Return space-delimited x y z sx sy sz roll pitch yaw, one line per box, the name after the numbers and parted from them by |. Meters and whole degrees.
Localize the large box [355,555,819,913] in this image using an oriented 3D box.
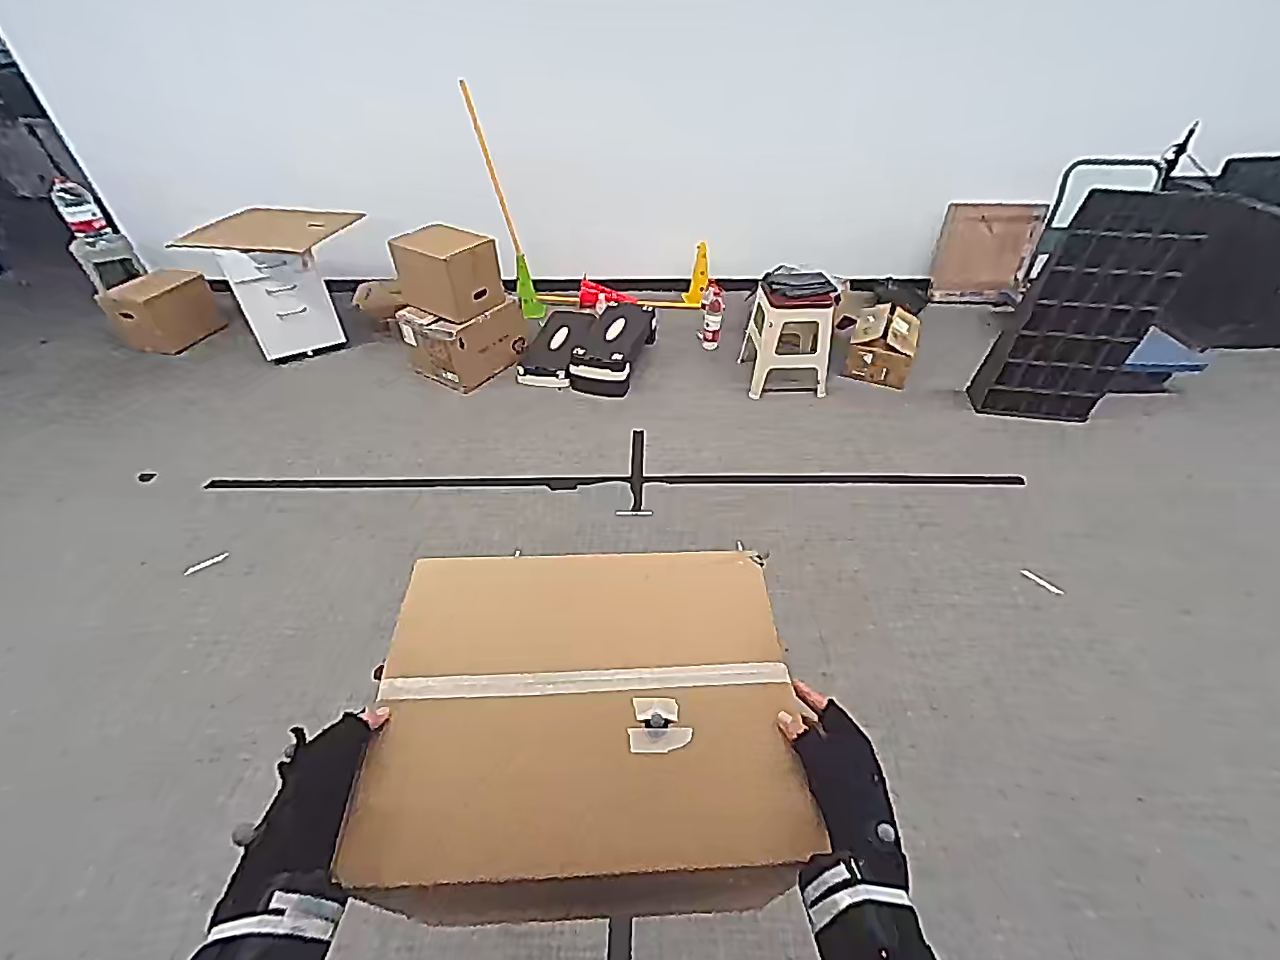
-0.054 0.310 0.665 0.408 0.320 0.320 0 47 -3 | large box
